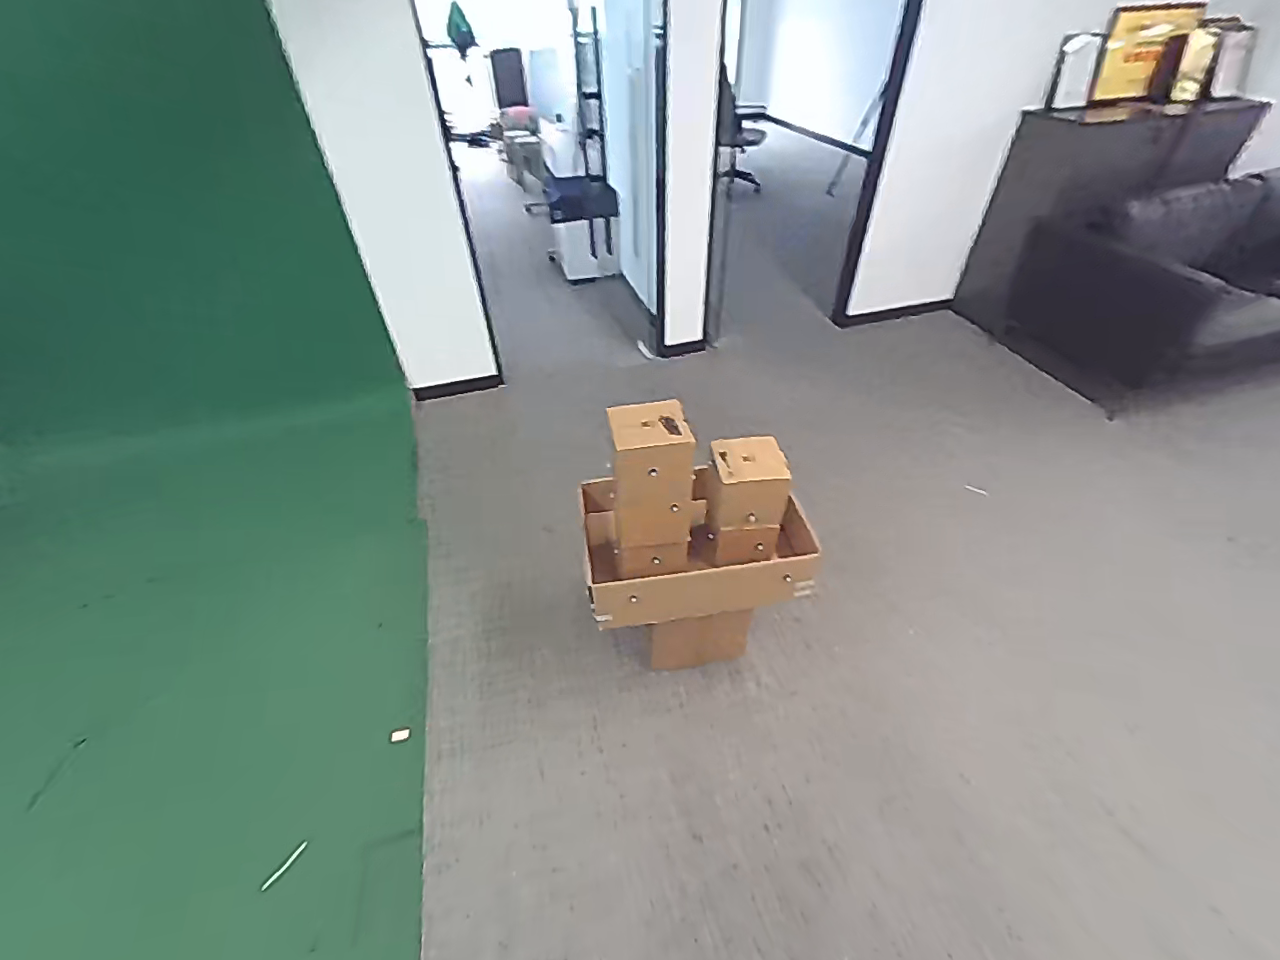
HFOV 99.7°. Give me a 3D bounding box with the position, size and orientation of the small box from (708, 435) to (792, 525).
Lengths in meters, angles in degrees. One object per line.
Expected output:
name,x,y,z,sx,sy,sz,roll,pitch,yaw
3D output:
small box,0.284,0.002,1.431,0.179,0.176,0.168,-5,44,-2

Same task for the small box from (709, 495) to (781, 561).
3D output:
small box,0.292,0.118,1.543,0.168,0.176,0.179,-4,44,-2

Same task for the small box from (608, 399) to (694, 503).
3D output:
small box,0.023,-0.067,1.281,0.179,0.176,0.168,-9,43,-5
